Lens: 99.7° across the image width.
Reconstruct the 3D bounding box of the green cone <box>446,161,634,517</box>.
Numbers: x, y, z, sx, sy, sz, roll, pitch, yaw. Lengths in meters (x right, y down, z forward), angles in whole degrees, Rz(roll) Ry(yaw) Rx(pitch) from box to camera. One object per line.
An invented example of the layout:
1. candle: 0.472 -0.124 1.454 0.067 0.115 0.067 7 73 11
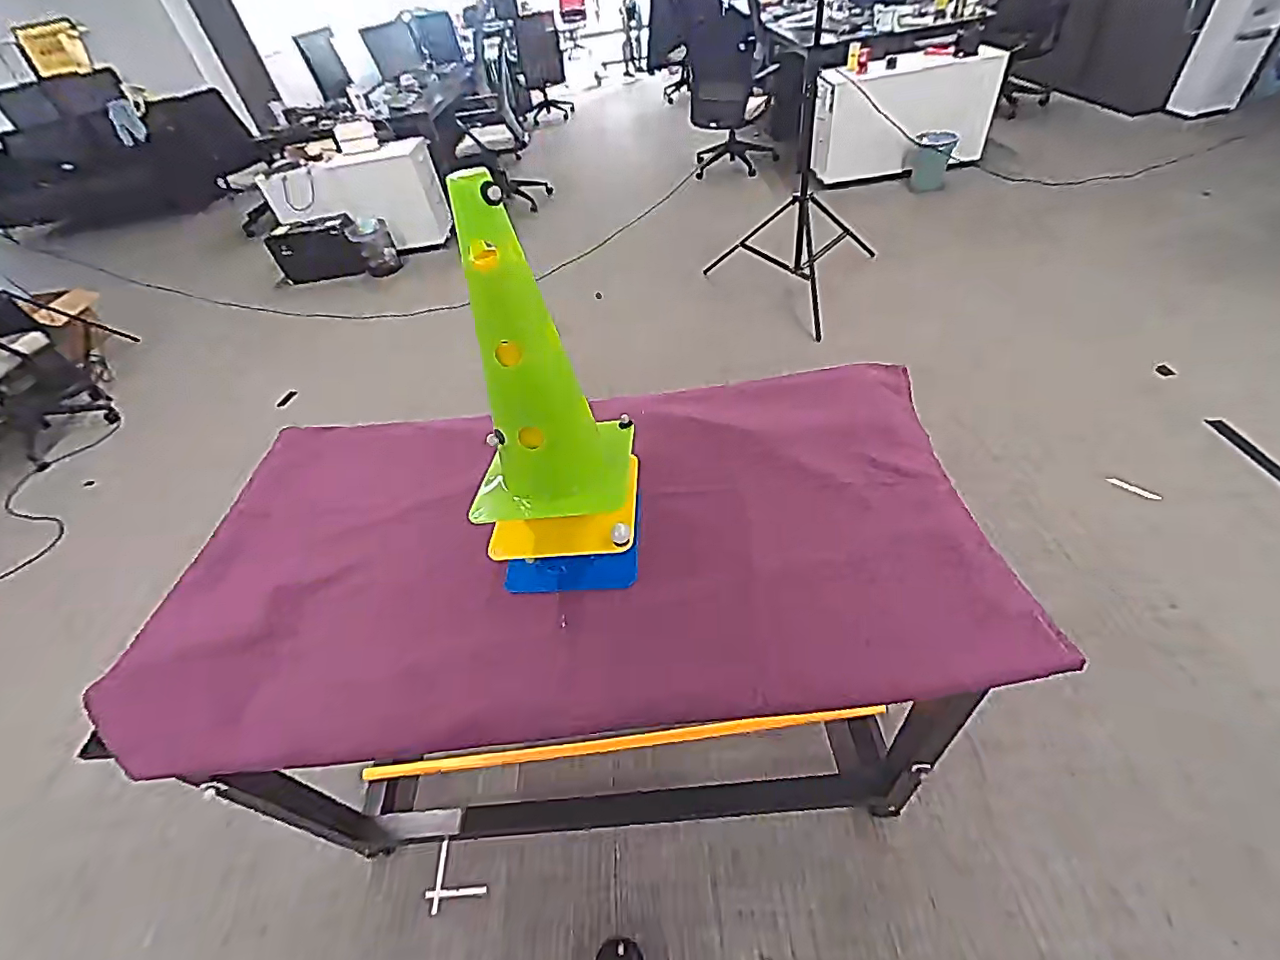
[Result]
1. green cone: -0.138 -0.157 0.620 0.200 0.368 0.202 -6 38 8
